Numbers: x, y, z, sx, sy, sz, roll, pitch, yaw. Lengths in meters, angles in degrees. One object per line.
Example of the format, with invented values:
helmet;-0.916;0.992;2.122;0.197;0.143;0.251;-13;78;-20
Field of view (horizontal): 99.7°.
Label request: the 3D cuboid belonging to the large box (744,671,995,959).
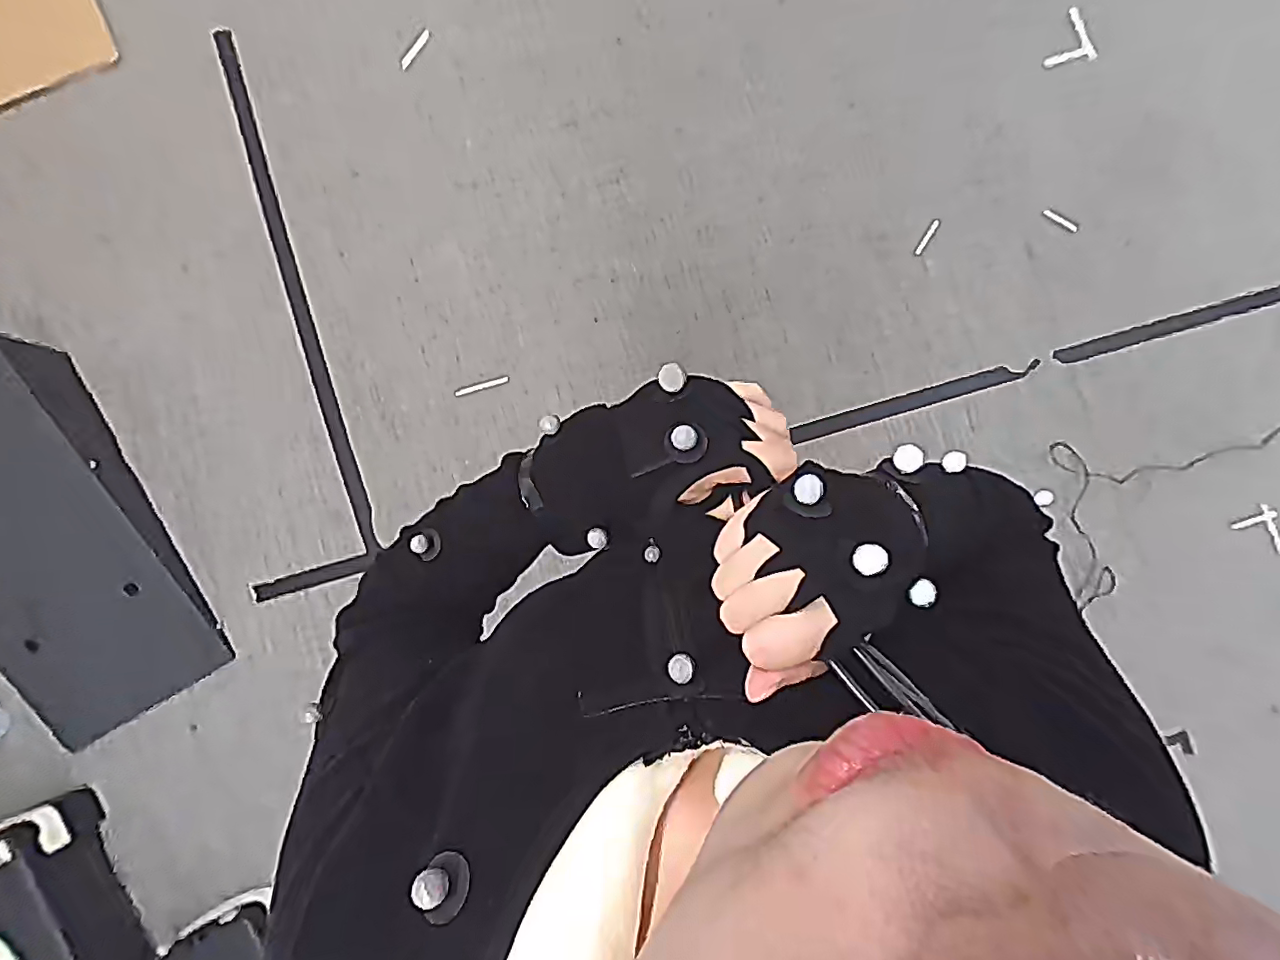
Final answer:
large box;0.454;0.689;1.156;0.320;0.320;0.408;-17;89;-1
